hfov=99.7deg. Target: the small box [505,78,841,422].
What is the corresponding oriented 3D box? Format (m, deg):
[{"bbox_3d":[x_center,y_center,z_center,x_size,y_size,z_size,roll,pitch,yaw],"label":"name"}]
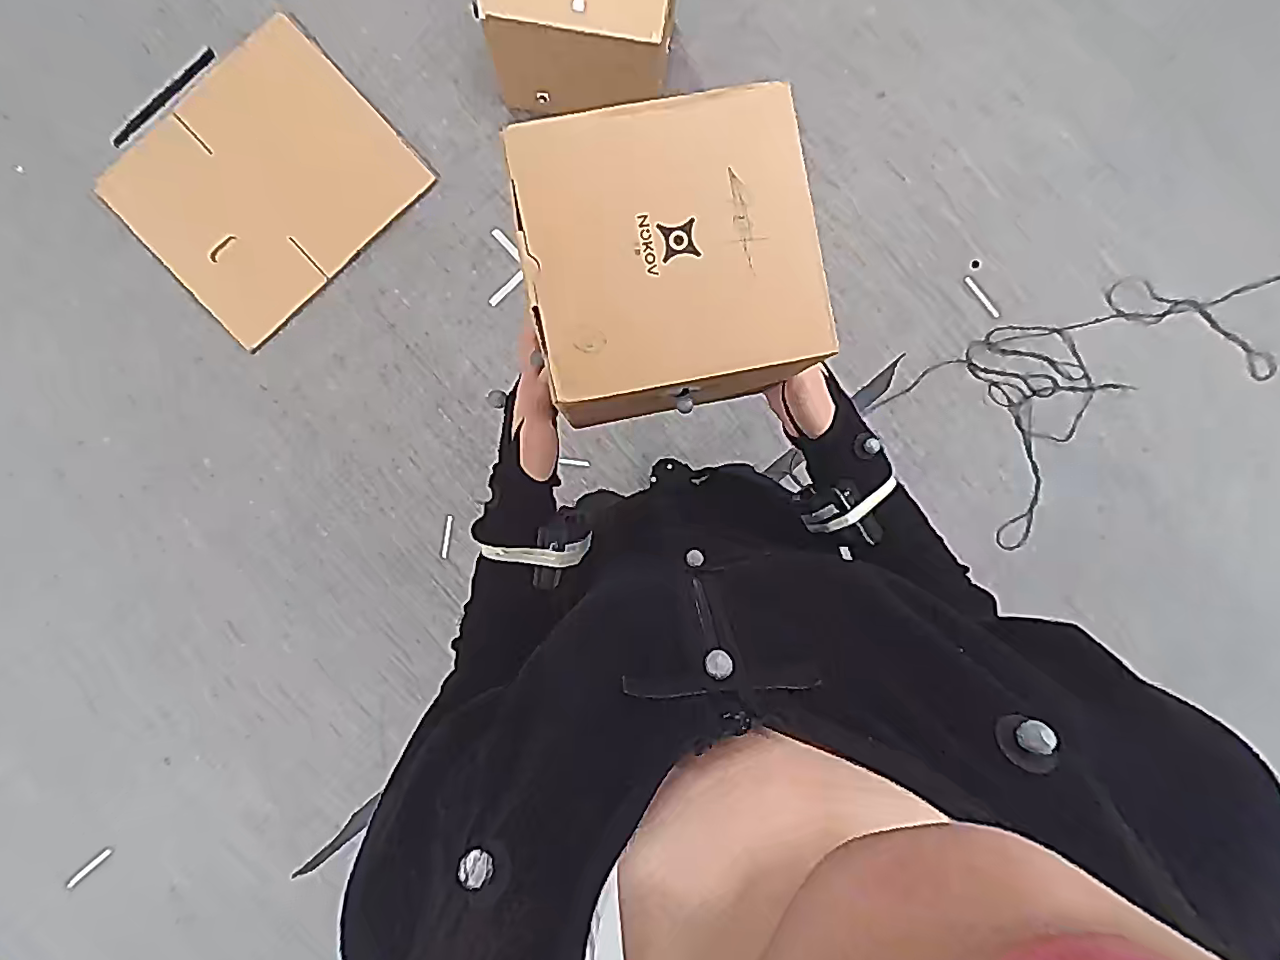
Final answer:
[{"bbox_3d":[0.018,-0.143,0.398,0.179,0.176,0.168,-12,92,-3],"label":"small box"}]
